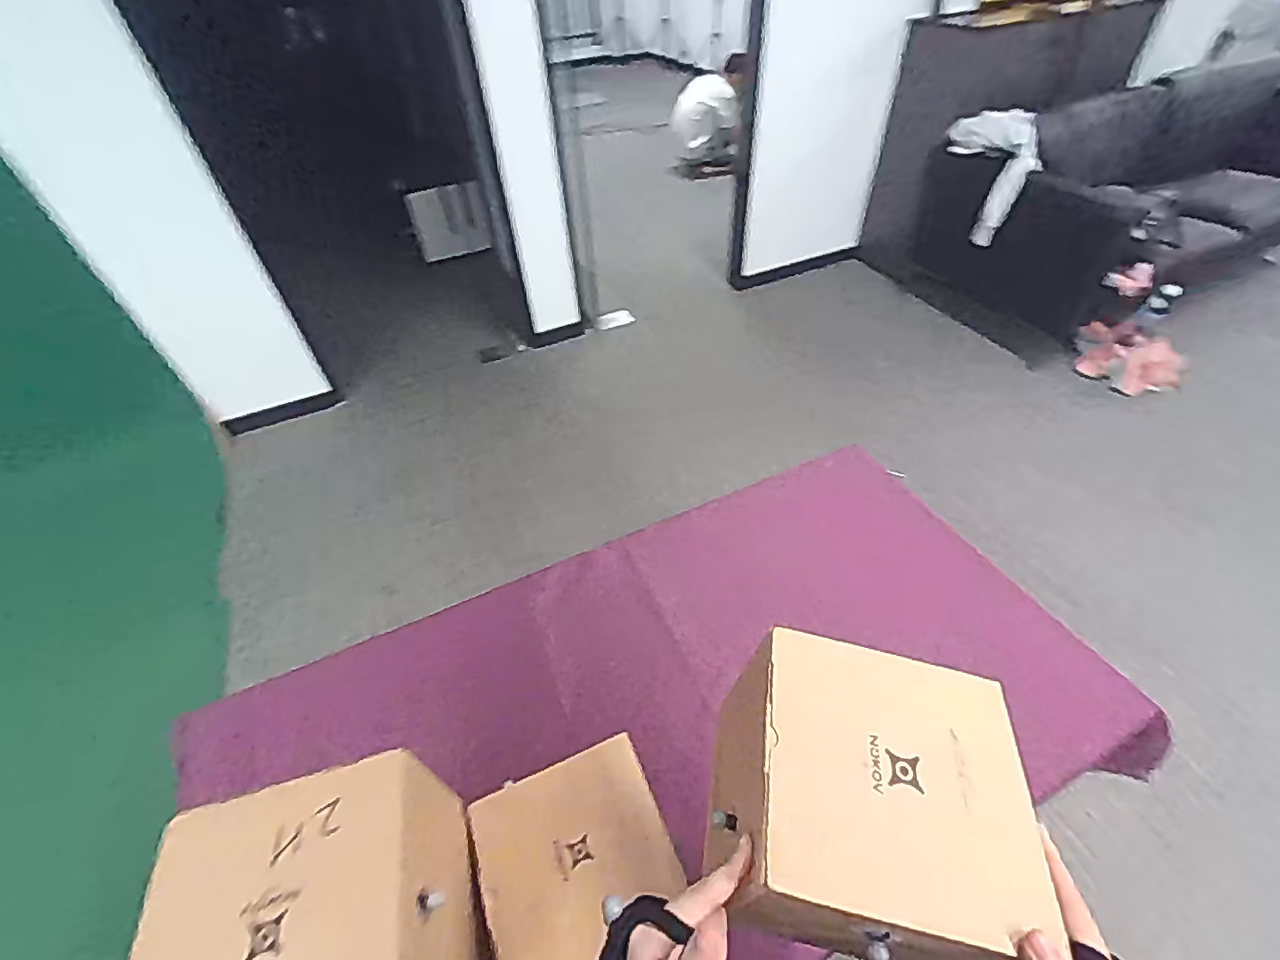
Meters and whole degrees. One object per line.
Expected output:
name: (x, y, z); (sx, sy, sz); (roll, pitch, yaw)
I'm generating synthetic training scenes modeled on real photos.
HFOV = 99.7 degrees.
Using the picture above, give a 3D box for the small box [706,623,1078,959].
small box: (0.157, 0.238, 0.404); (0.179, 0.176, 0.168); (15, 46, 3)

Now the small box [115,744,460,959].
small box: (-0.238, 0.332, 0.400); (0.168, 0.176, 0.179); (-13, 47, -10)
